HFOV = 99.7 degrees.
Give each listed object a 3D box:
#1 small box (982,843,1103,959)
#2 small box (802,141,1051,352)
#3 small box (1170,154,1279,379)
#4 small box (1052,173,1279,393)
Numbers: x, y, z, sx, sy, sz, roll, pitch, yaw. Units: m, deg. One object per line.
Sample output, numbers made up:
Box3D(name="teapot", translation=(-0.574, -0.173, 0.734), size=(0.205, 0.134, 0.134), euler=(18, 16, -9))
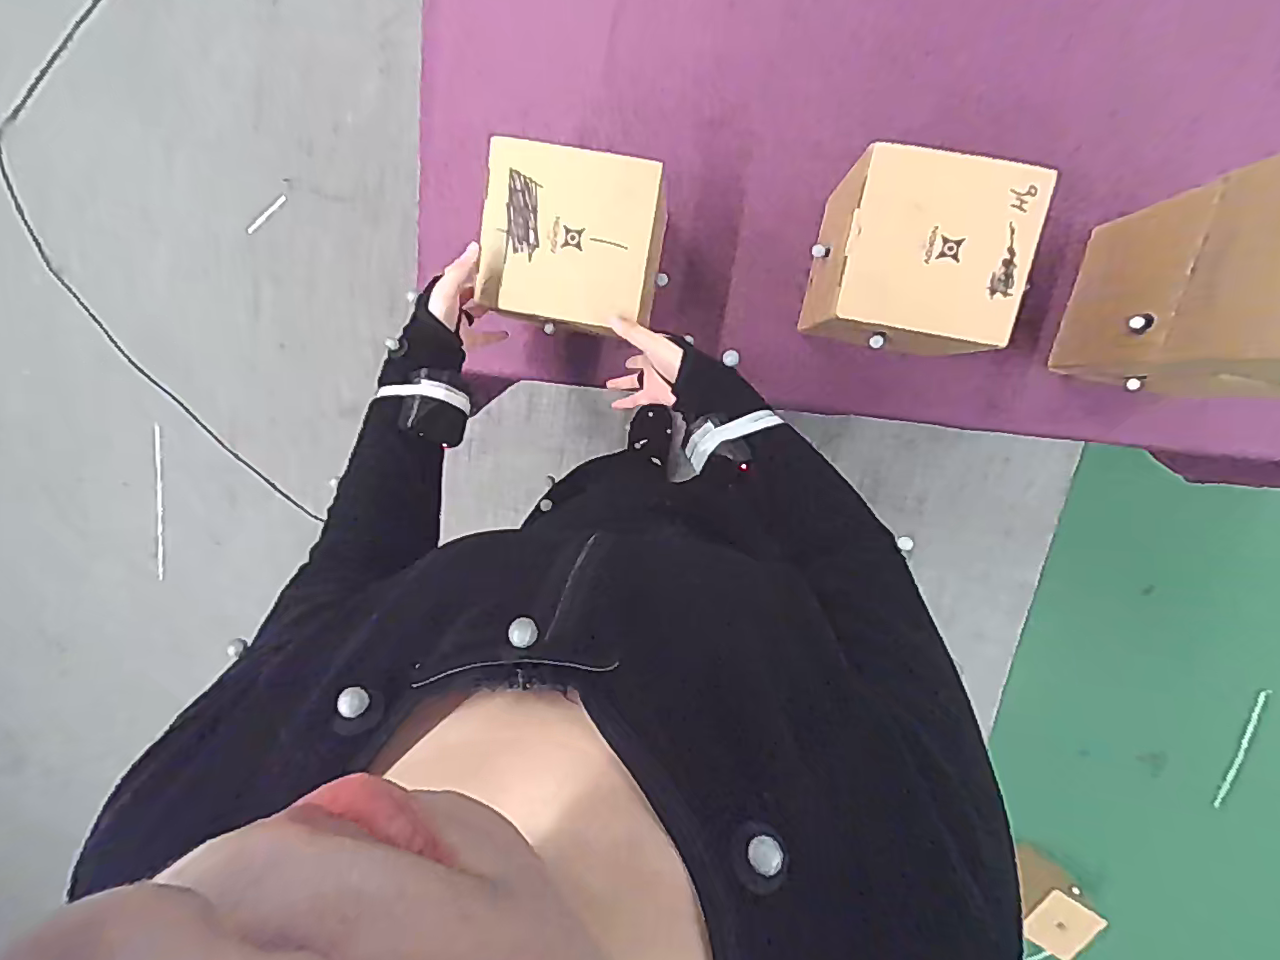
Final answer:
Box3D(name="small box", translation=(1.126, 1.182, 1.527), size=(0.179, 0.176, 0.168), euler=(34, 100, -2))
Box3D(name="small box", translation=(0.295, -0.243, 0.604), size=(0.179, 0.176, 0.168), euler=(11, 100, 3))
Box3D(name="small box", translation=(0.591, -0.169, 0.428), size=(0.168, 0.176, 0.179), euler=(11, 101, 2))
Box3D(name="small box", translation=(0.603, -0.198, 0.590), size=(0.168, 0.176, 0.179), euler=(12, 101, 2))
